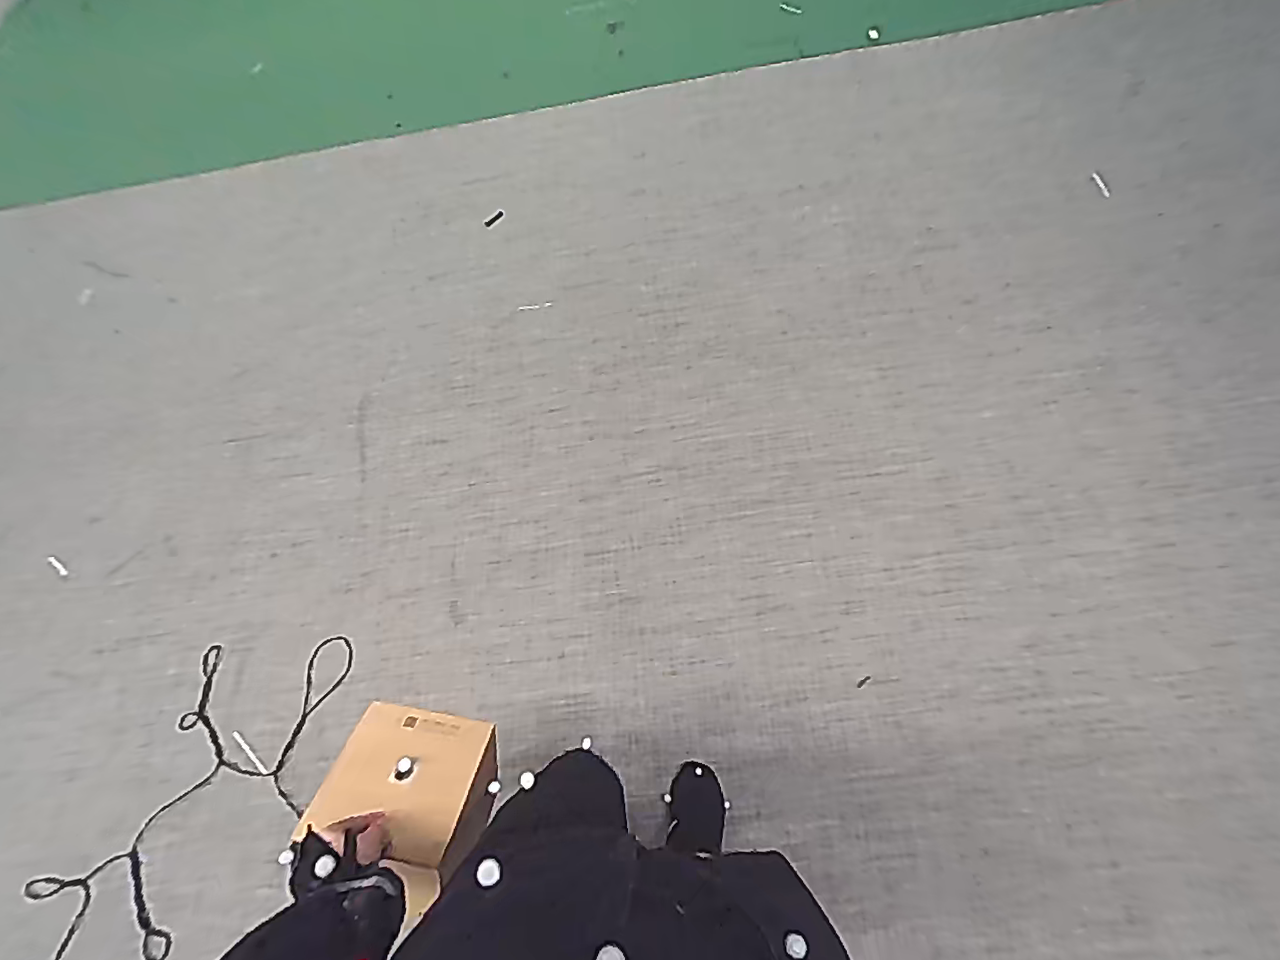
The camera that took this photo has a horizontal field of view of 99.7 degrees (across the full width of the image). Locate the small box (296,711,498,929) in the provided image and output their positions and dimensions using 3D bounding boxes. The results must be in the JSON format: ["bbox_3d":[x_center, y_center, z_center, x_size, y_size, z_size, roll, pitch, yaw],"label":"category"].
[{"bbox_3d":[-0.286,0.420,0.680,0.168,0.179,0.176,9,34,2],"label":"small box"}]
